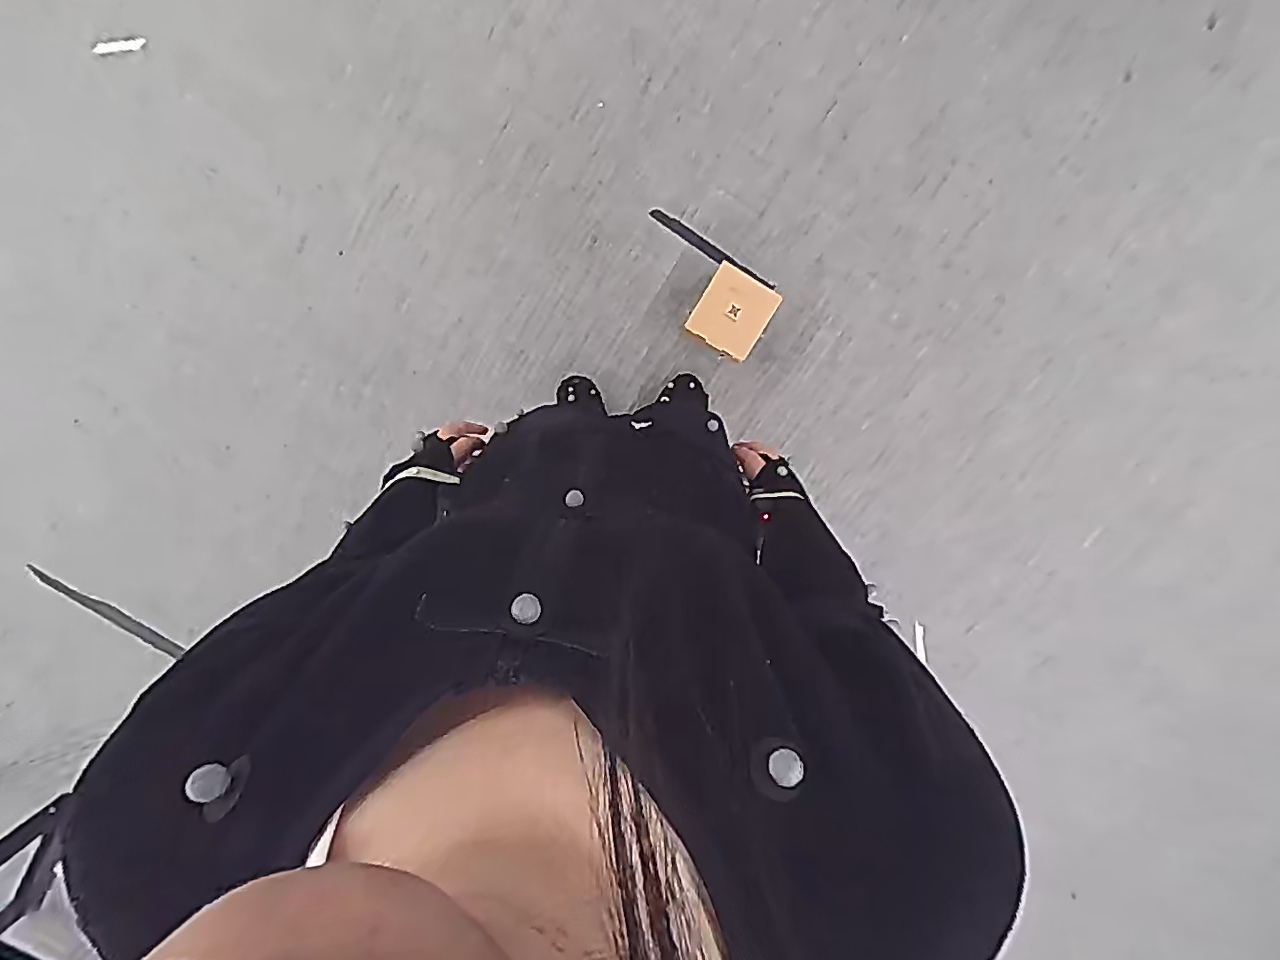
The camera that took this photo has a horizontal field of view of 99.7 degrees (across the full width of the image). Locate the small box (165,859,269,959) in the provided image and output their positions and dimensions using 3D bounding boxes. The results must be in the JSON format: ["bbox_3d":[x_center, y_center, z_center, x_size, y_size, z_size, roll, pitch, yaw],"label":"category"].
[{"bbox_3d":[-1.327,1.362,1.708,0.168,0.176,0.179,33,99,-6],"label":"small box"}]
